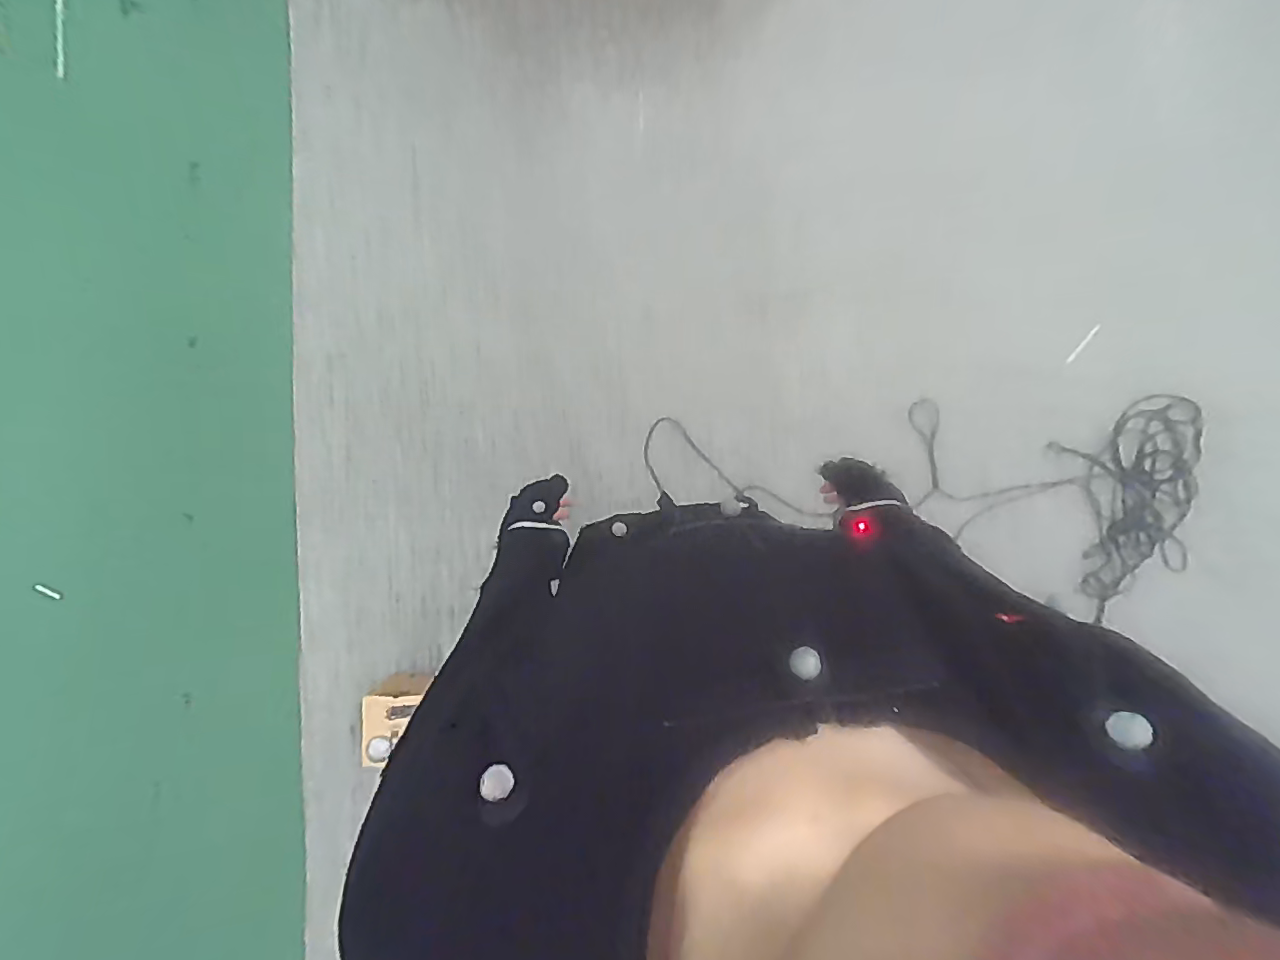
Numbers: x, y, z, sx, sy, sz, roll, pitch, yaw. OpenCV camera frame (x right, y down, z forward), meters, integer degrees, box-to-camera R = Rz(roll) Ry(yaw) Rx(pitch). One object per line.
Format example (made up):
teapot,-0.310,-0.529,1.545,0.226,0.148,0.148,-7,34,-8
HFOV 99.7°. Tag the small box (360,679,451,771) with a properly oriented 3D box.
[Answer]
small box,-0.594,0.619,1.385,0.168,0.176,0.179,0,88,0
